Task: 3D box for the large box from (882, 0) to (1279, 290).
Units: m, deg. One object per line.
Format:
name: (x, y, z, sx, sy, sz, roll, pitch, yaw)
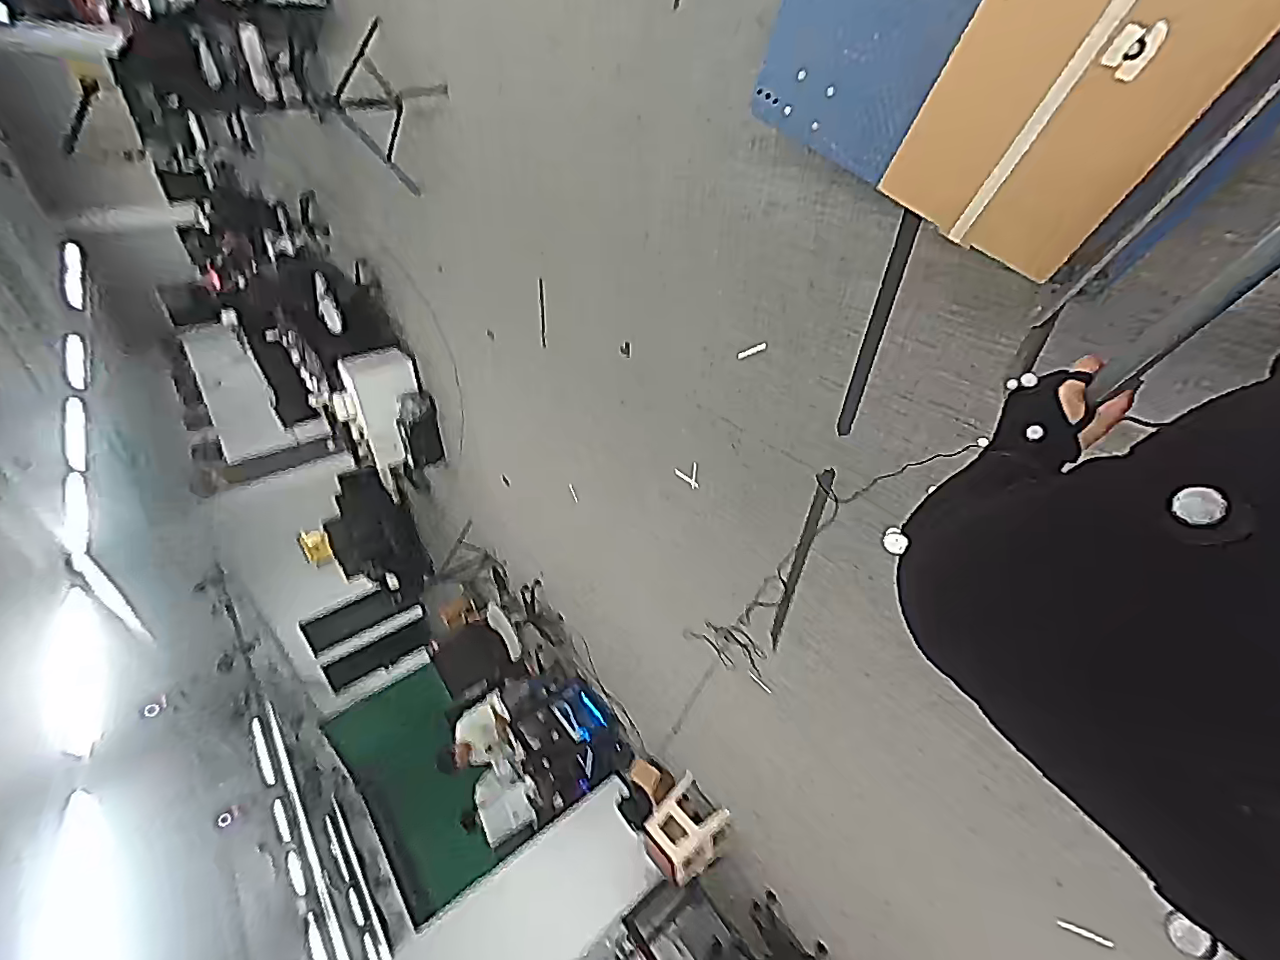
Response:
large box: (0.657, -0.570, 0.808, 0.320, 0.320, 0.408, 42, 142, 17)
